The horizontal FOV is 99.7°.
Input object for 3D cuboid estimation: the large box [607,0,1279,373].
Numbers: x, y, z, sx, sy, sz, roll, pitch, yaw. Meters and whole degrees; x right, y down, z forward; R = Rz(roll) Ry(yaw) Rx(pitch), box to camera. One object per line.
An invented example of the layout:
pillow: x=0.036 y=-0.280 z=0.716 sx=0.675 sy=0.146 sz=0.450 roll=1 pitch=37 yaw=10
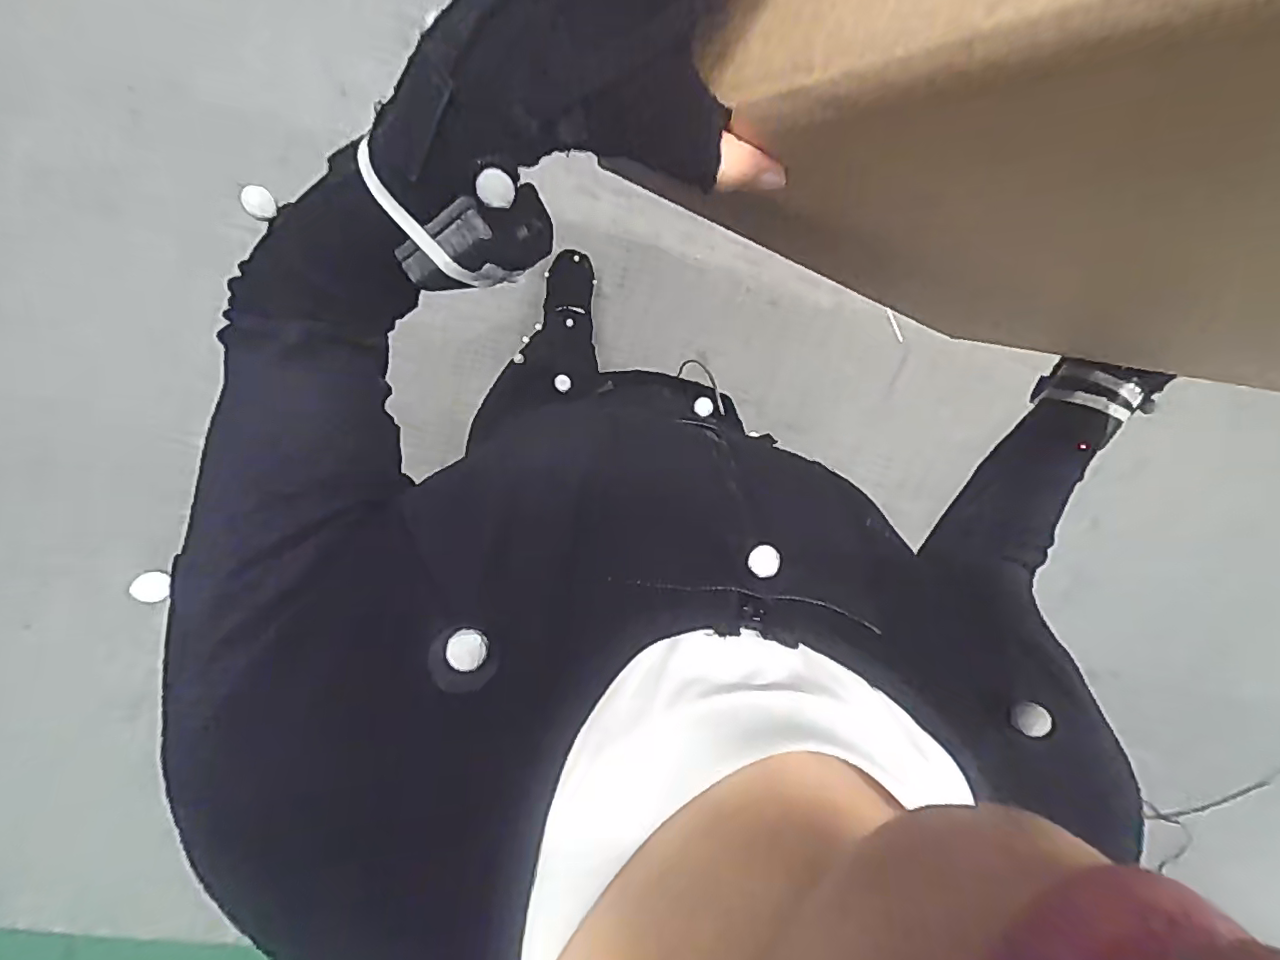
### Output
large box: x=0.251 y=-0.254 z=0.263 sx=0.408 sy=0.320 sz=0.320 roll=7 pitch=109 yaw=-34
